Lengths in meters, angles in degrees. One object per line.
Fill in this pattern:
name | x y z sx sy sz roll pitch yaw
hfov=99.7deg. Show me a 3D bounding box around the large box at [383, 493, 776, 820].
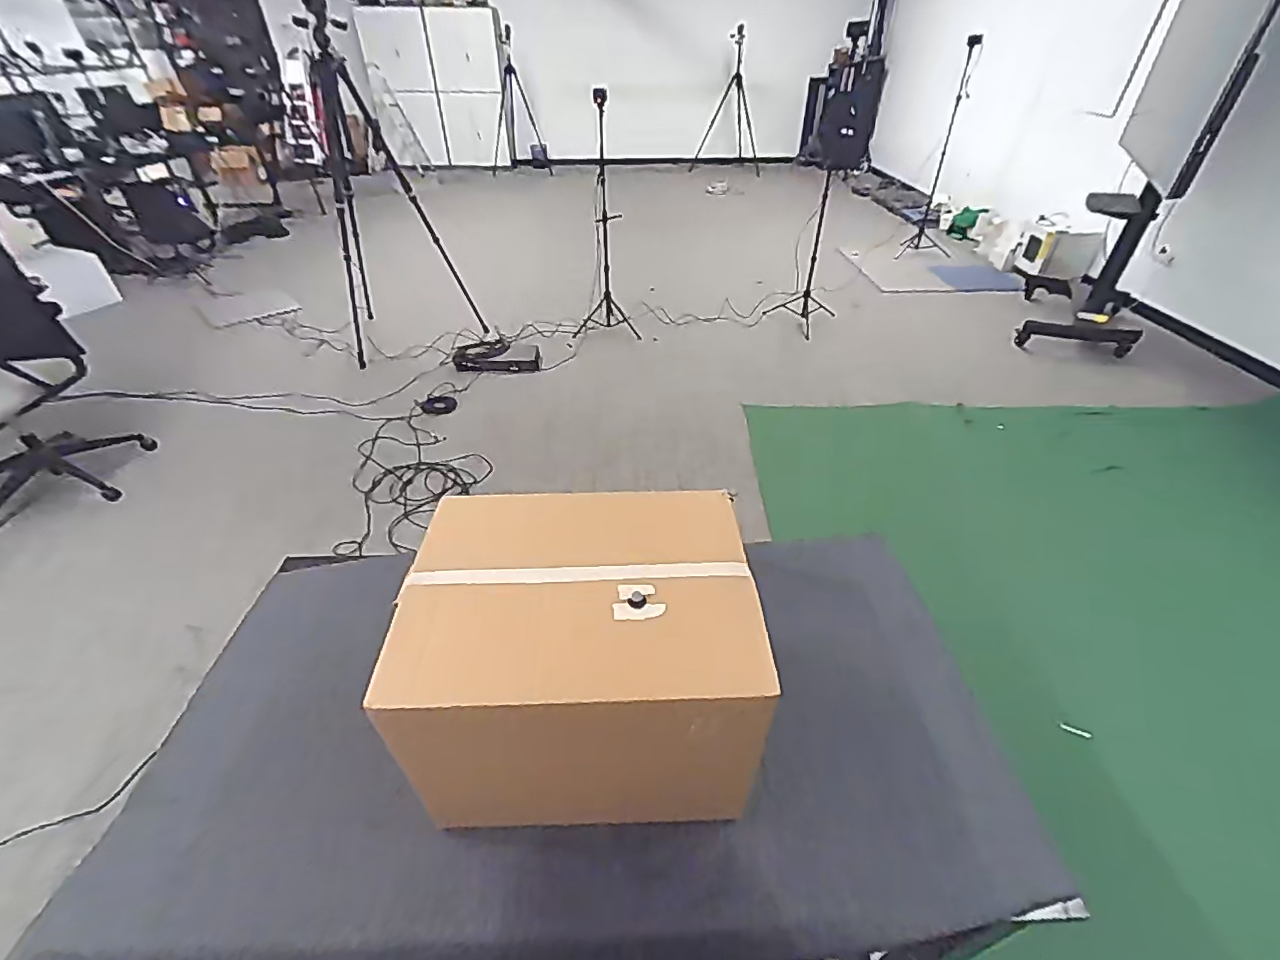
large box | -0.067 0.235 0.746 0.408 0.320 0.320 -1 40 -2
